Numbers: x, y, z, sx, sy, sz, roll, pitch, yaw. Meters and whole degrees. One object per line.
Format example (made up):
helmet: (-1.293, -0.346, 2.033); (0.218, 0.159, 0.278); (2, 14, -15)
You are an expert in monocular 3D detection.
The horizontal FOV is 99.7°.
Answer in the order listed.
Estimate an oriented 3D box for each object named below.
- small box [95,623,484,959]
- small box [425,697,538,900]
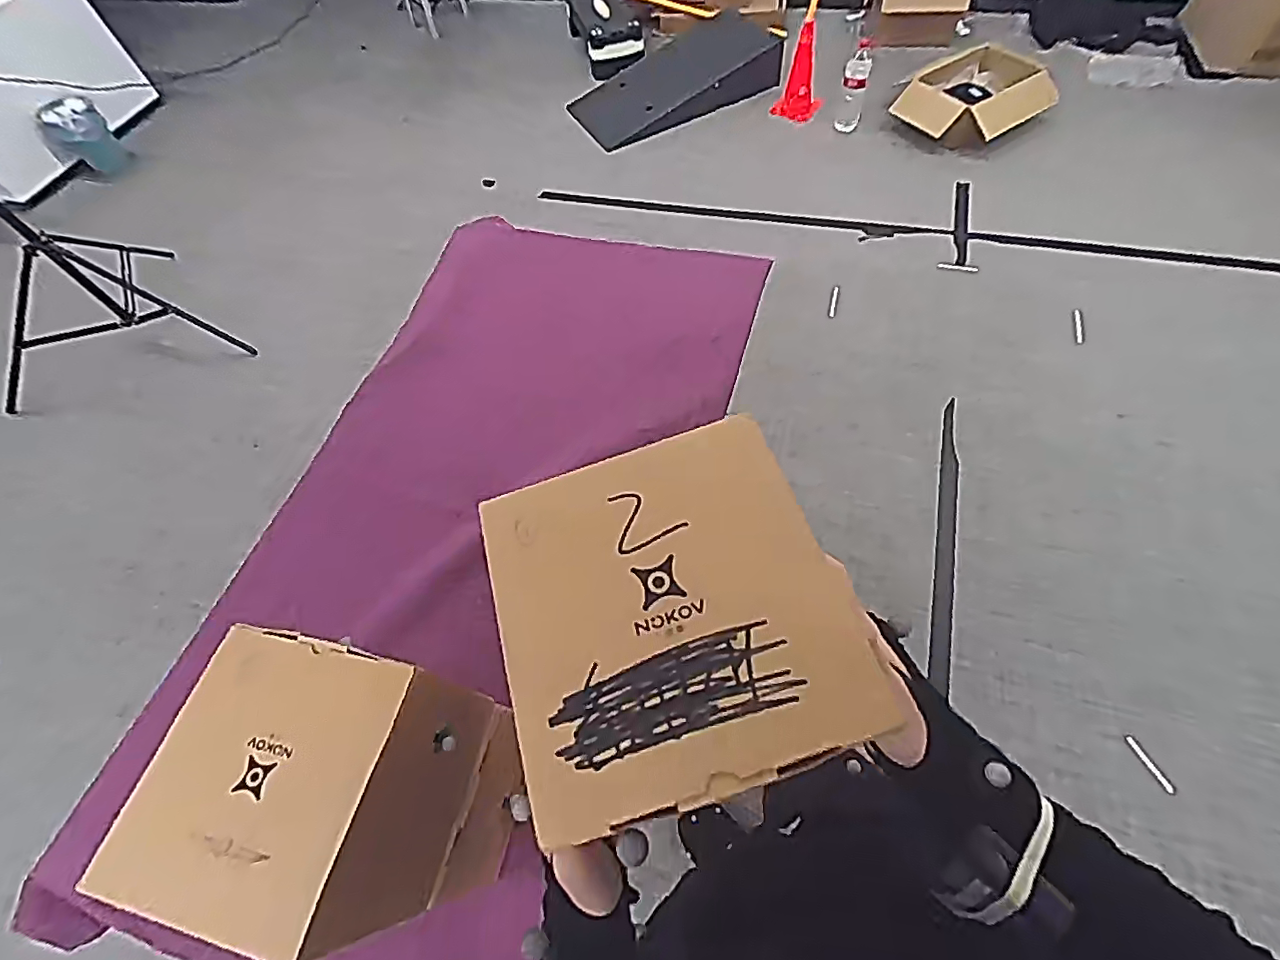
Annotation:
small box: (-0.248, 0.237, 0.441); (0.168, 0.176, 0.179); (8, 62, 12)
small box: (-0.232, 0.316, 0.582); (0.179, 0.176, 0.168); (10, 62, 11)
